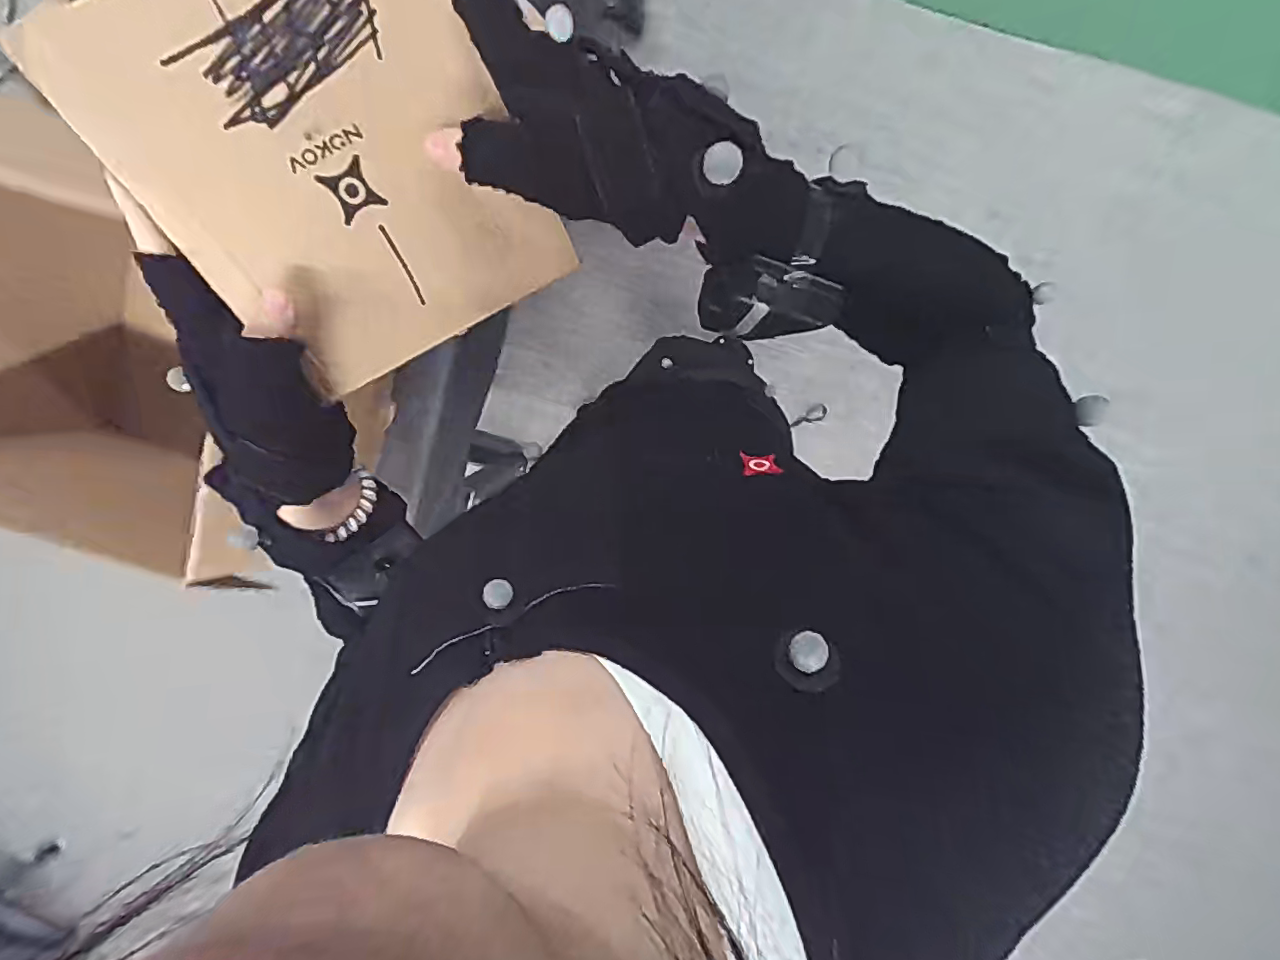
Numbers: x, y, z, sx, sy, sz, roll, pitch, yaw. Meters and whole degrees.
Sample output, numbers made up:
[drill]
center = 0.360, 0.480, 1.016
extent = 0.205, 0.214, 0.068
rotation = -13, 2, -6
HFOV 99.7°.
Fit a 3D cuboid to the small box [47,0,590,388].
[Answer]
[small box]
center = -0.153, -0.185, 0.326
extent = 0.168, 0.176, 0.179
rotation = -28, 120, -3
